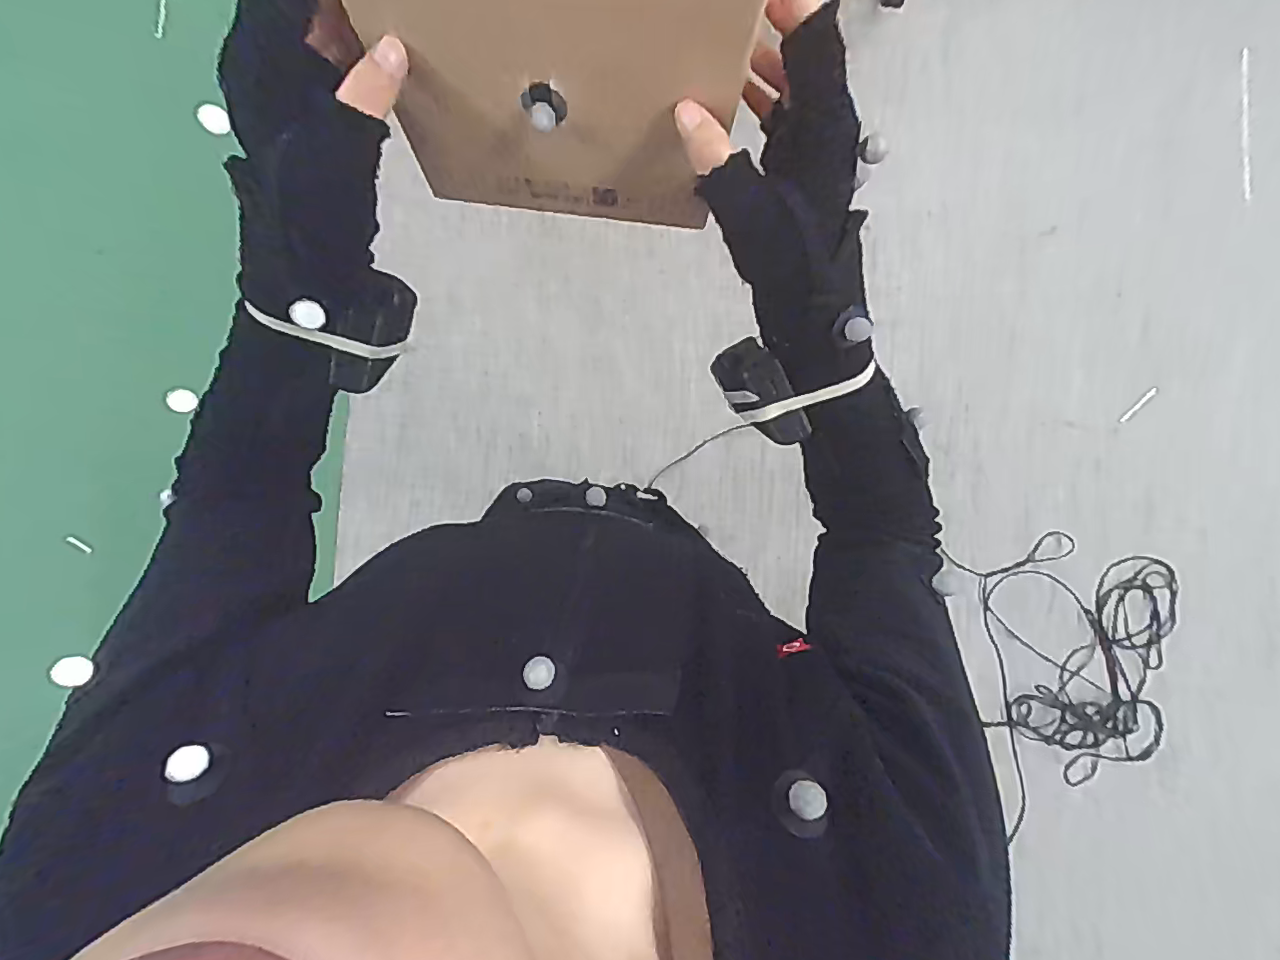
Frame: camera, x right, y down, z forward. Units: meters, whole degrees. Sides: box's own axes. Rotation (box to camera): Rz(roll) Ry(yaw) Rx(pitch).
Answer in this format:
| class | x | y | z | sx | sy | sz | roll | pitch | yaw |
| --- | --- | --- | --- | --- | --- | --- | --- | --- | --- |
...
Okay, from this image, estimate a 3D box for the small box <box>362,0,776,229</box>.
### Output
| class | x | y | z | sx | sy | sz | roll | pitch | yaw |
| --- | --- | --- | --- | --- | --- | --- | --- | --- | --- |
| small box | -0.023 | -0.252 | 0.261 | 0.168 | 0.176 | 0.179 | 6 | 79 | -3 |
